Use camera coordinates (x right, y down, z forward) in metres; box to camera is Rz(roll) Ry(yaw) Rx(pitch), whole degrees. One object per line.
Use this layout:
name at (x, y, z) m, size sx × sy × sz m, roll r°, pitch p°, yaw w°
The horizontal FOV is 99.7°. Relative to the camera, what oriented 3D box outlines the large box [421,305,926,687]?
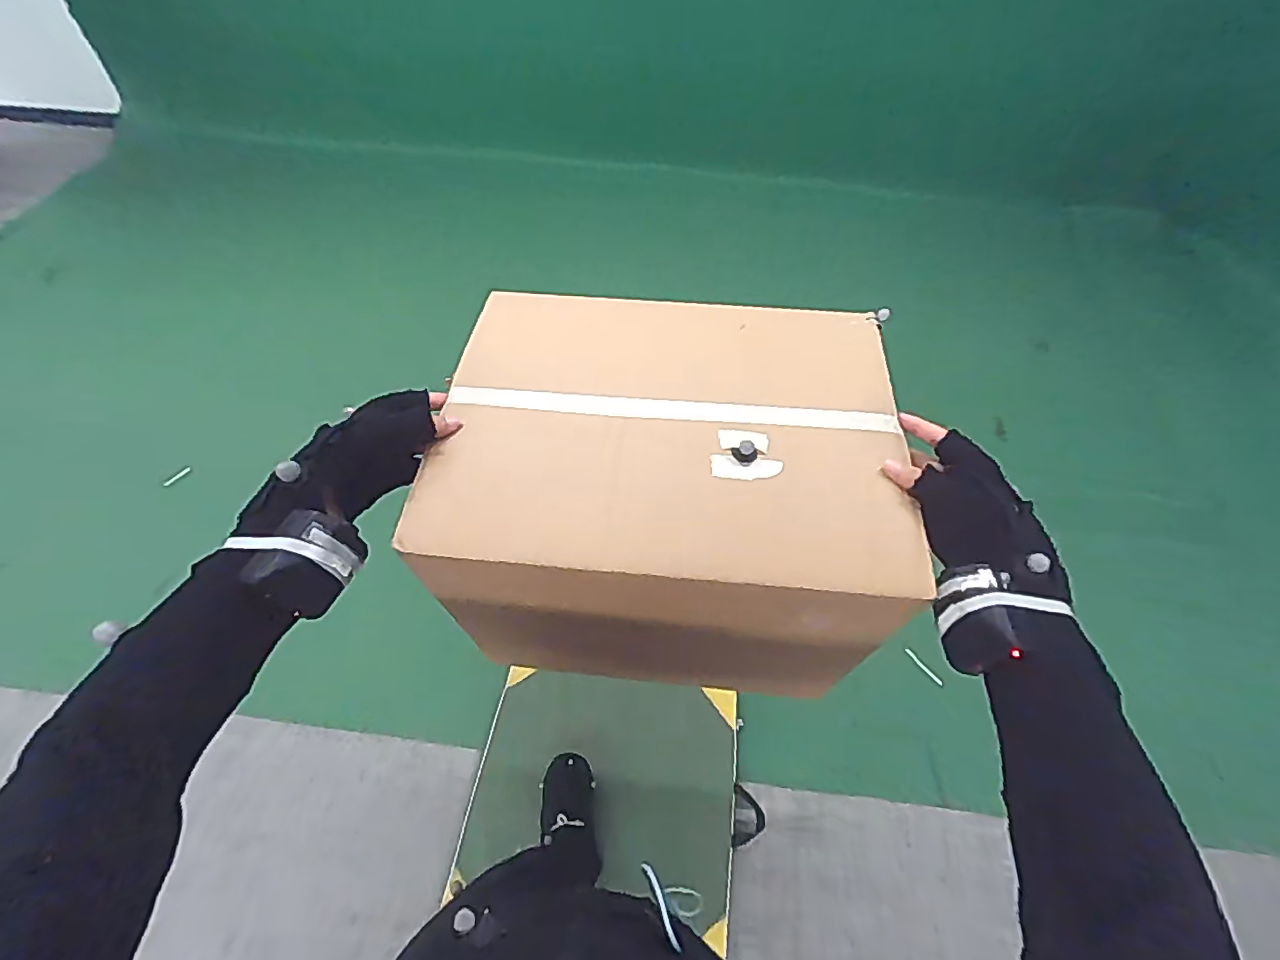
large box at (0.032, 0.030, 0.624) m, size 0.408 × 0.320 × 0.320 m, roll 5°, pitch 56°, yaw 3°
